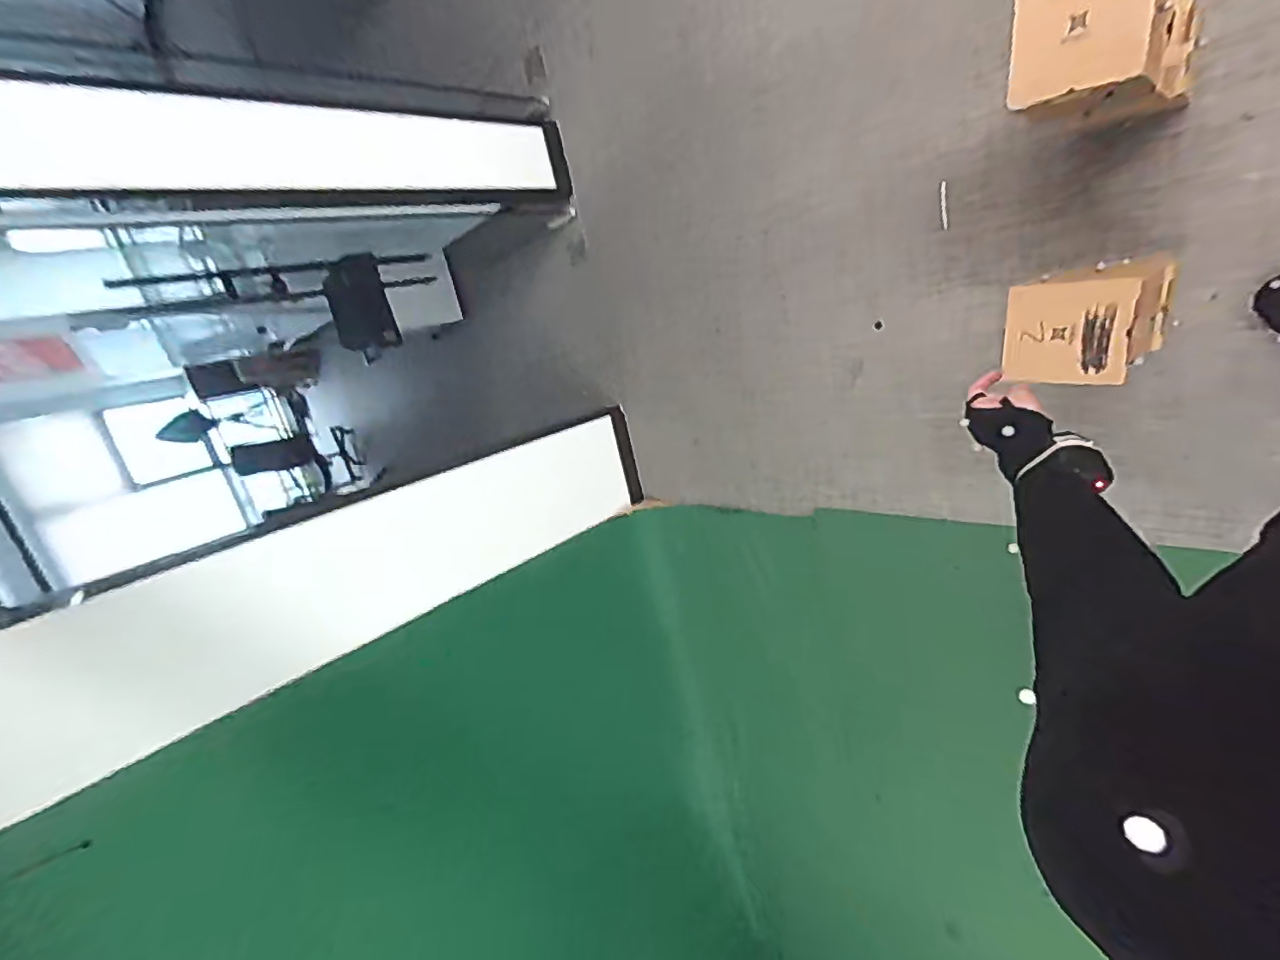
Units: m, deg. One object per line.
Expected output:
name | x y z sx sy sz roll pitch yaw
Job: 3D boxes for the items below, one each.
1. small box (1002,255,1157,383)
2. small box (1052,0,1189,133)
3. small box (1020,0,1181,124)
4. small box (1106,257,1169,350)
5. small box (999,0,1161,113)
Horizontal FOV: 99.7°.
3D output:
small box | 0.874 -0.325 1.073 0.168 0.176 0.179 41 136 24
small box | 0.914 -0.787 1.030 0.179 0.176 0.168 8 114 45
small box | 0.792 -0.734 0.934 0.179 0.176 0.168 14 120 44
small box | 0.995 -0.376 1.156 0.179 0.176 0.168 13 118 45
small box | 0.676 -0.686 0.829 0.168 0.176 0.179 13 119 43
